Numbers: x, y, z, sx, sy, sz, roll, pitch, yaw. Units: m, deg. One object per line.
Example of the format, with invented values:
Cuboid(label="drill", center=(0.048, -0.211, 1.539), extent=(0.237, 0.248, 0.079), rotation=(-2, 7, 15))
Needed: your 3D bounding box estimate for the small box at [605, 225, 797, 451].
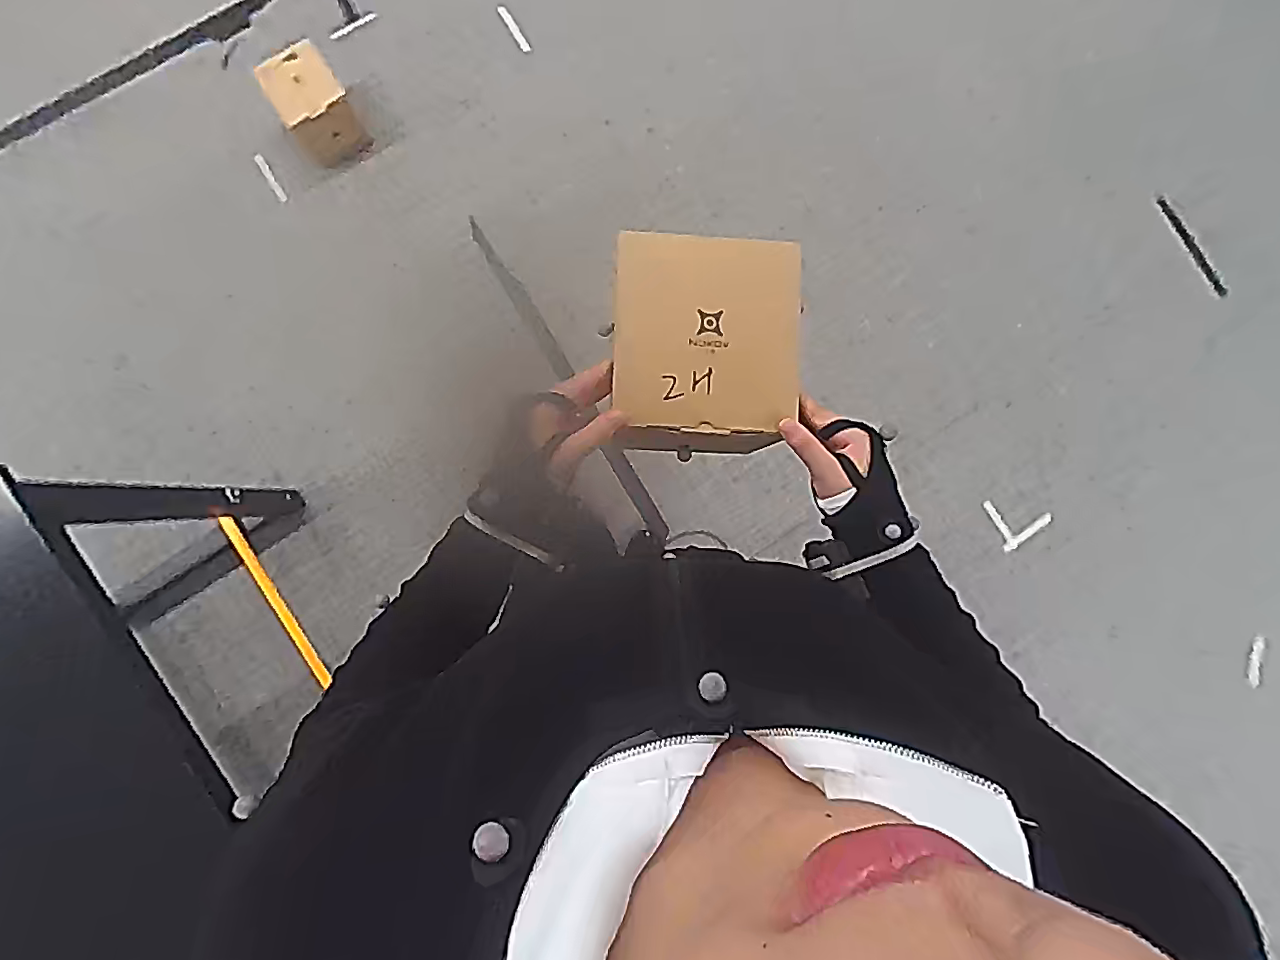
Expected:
Cuboid(label="small box", center=(0.050, -0.129, 0.552), extent=(0.168, 0.176, 0.179), rotation=(2, 87, -4))

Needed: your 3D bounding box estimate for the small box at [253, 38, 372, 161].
Cuboid(label="small box", center=(-0.842, -0.976, 1.411), extent=(0.168, 0.176, 0.179), rotation=(-33, 91, -4))
